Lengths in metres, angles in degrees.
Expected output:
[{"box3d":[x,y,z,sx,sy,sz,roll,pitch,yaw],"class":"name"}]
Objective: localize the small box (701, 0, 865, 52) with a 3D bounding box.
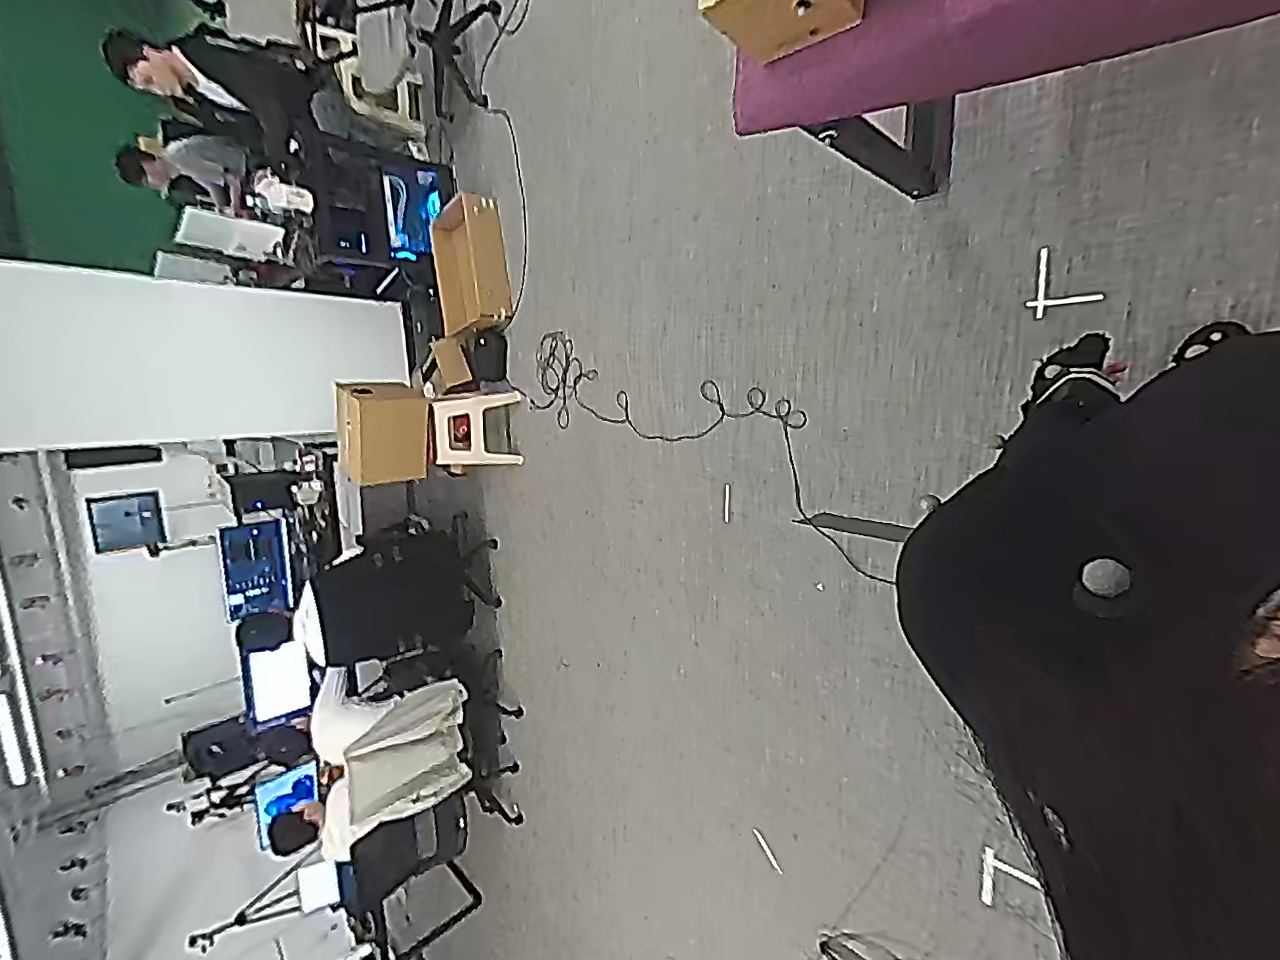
[{"box3d":[0.200,-0.722,0.726,0.168,0.176,0.179,10,102,42],"class":"small box"}]
